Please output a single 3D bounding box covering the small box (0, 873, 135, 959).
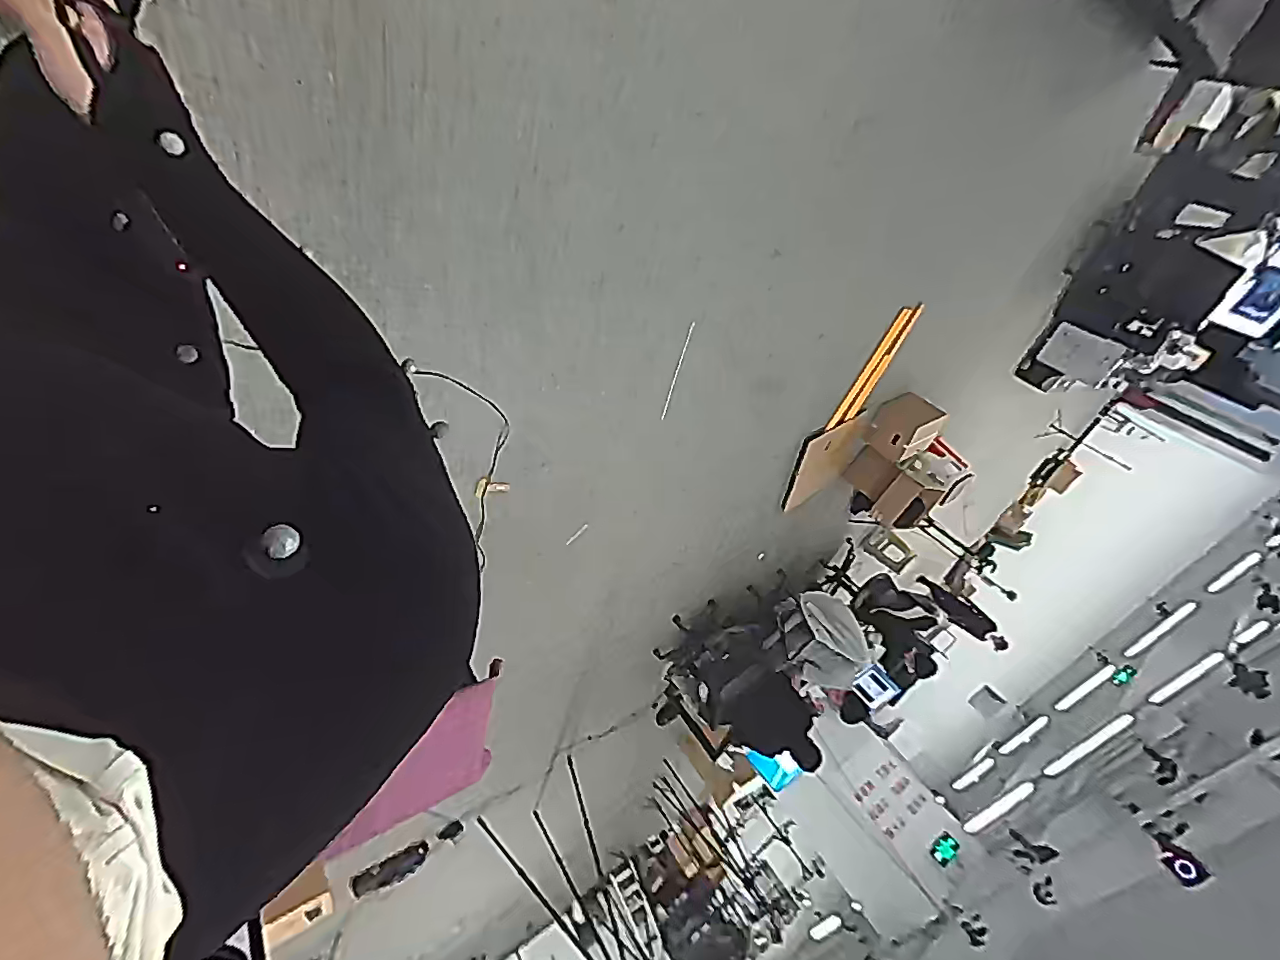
[{"bbox_3d":[-1.141,0.936,1.077,0.179,0.176,0.168,-9,134,-41],"label":"small box"}]

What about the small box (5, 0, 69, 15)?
[{"bbox_3d":[-0.514,-0.436,0.350,0.179,0.176,0.168,-11,128,-37],"label":"small box"}]

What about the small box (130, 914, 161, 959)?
[{"bbox_3d":[-1.210,1.146,1.235,0.168,0.176,0.179,-7,132,-41],"label":"small box"}]
